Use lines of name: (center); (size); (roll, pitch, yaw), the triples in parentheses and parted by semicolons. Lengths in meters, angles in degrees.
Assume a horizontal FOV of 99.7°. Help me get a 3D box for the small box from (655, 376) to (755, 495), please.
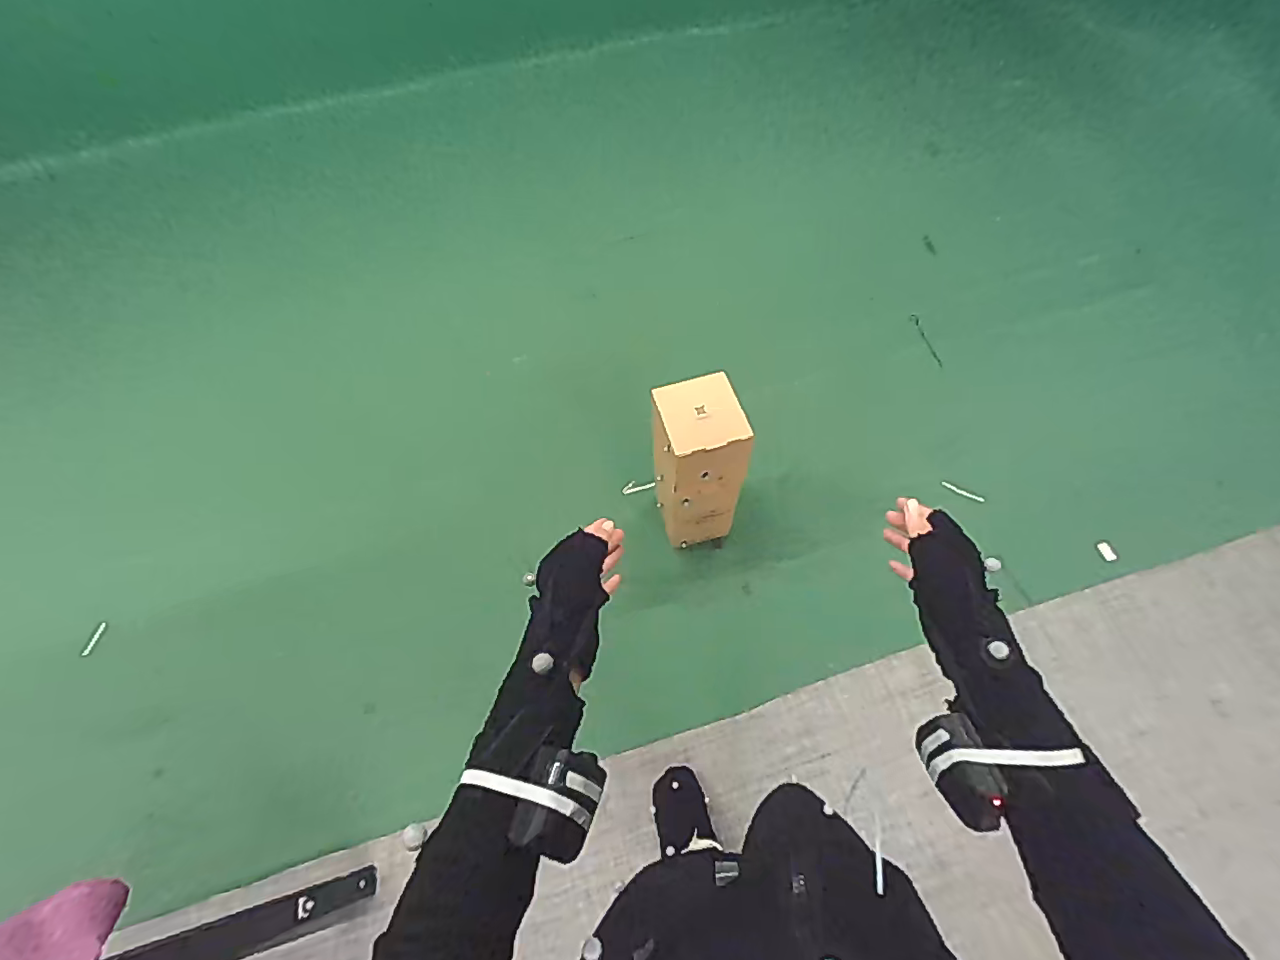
small box: (0.132, -0.094, 1.185); (0.168, 0.176, 0.179); (-16, 62, -6)

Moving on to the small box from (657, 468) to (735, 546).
small box: (0.148, 0.066, 1.471); (0.168, 0.176, 0.179); (-14, 62, -5)
